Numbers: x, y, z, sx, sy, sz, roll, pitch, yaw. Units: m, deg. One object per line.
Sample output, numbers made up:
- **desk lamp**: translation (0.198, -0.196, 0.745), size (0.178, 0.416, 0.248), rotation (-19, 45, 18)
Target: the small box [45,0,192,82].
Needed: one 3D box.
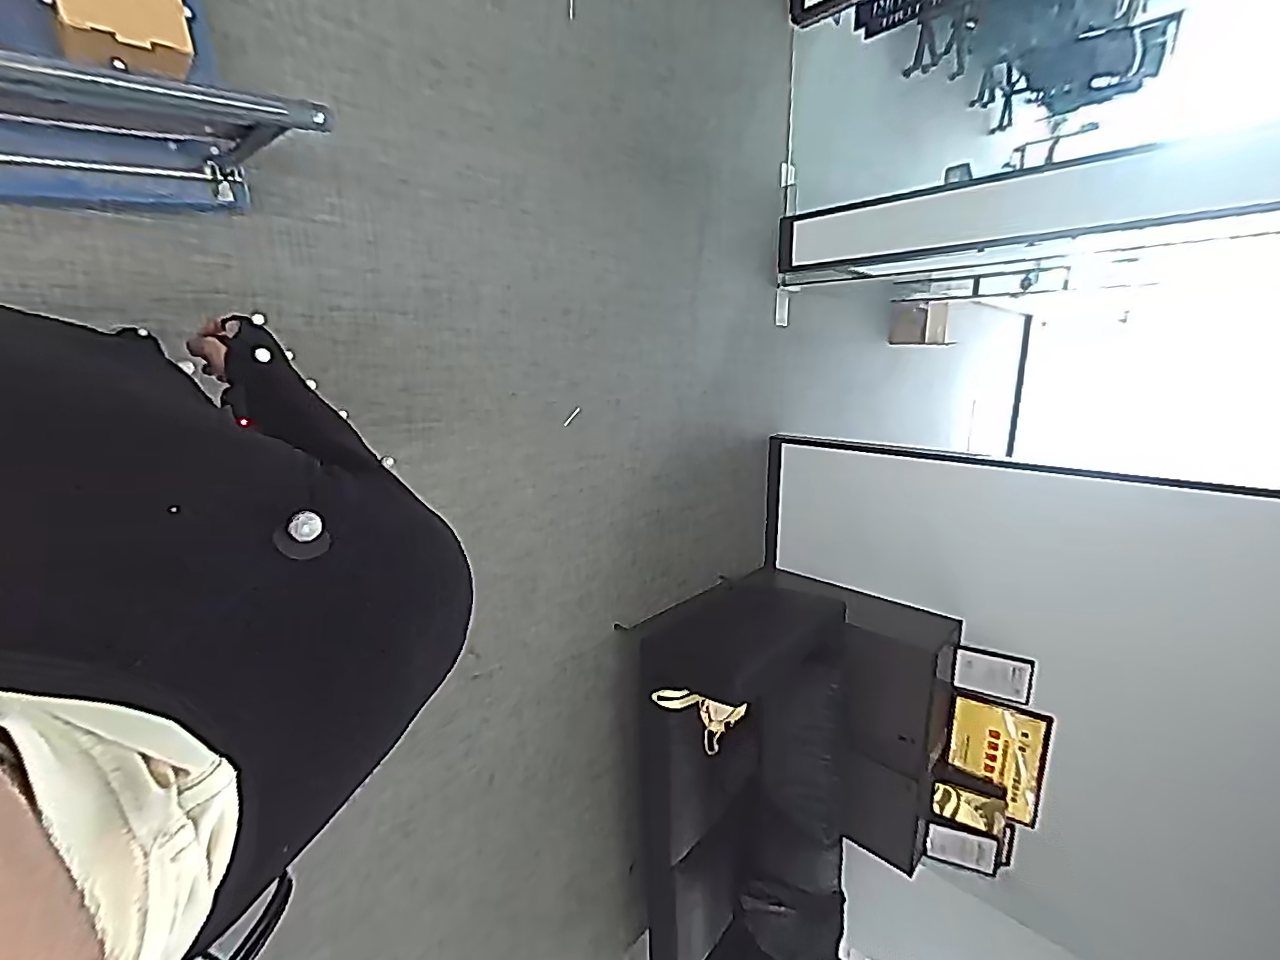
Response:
- **small box**: translation (-0.905, -0.829, 0.925), size (0.168, 0.176, 0.179), rotation (-19, 112, -43)
